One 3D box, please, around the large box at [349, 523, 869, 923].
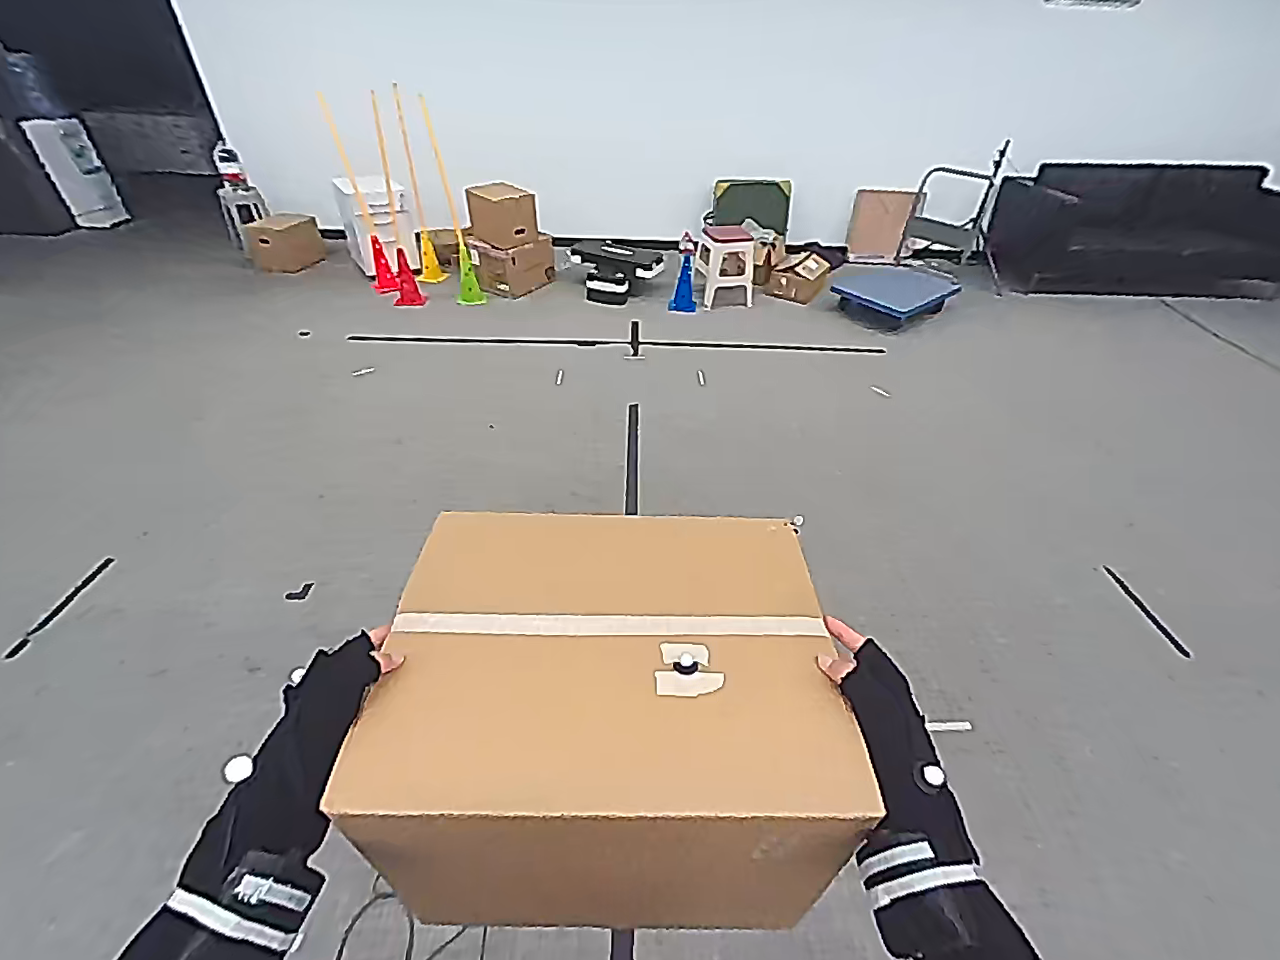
[{"bbox_3d":[-0.029,0.265,0.613,0.408,0.320,0.320,1,39,-1],"label":"large box"}]
